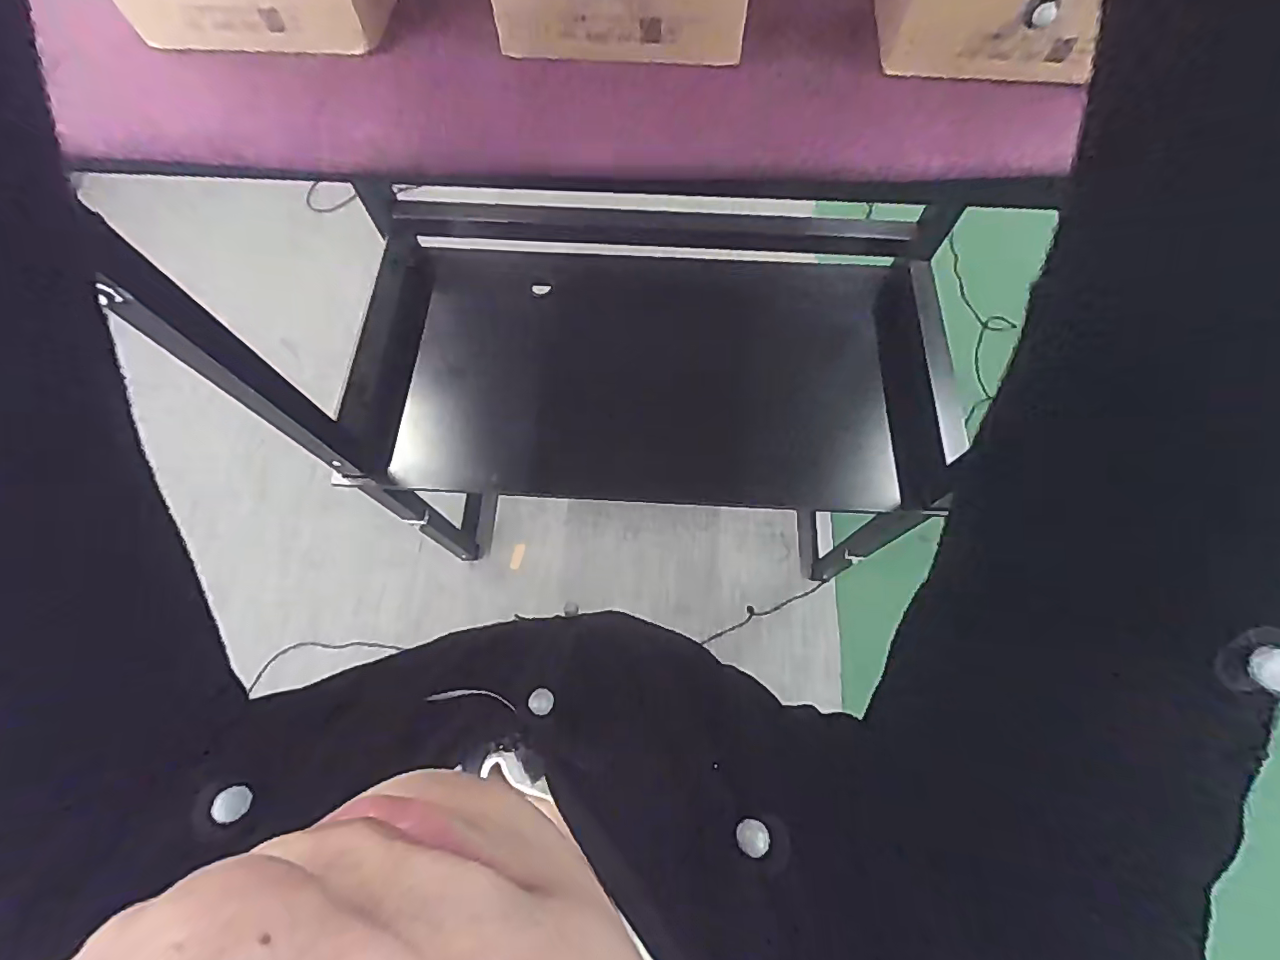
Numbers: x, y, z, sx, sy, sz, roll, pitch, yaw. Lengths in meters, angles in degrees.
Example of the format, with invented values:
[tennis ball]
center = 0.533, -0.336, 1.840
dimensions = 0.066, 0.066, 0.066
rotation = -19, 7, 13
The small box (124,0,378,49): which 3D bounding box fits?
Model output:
[small box]
center = -0.265, -0.411, 0.331
dimensions = 0.168, 0.176, 0.179
rotation = 2, 67, 1
